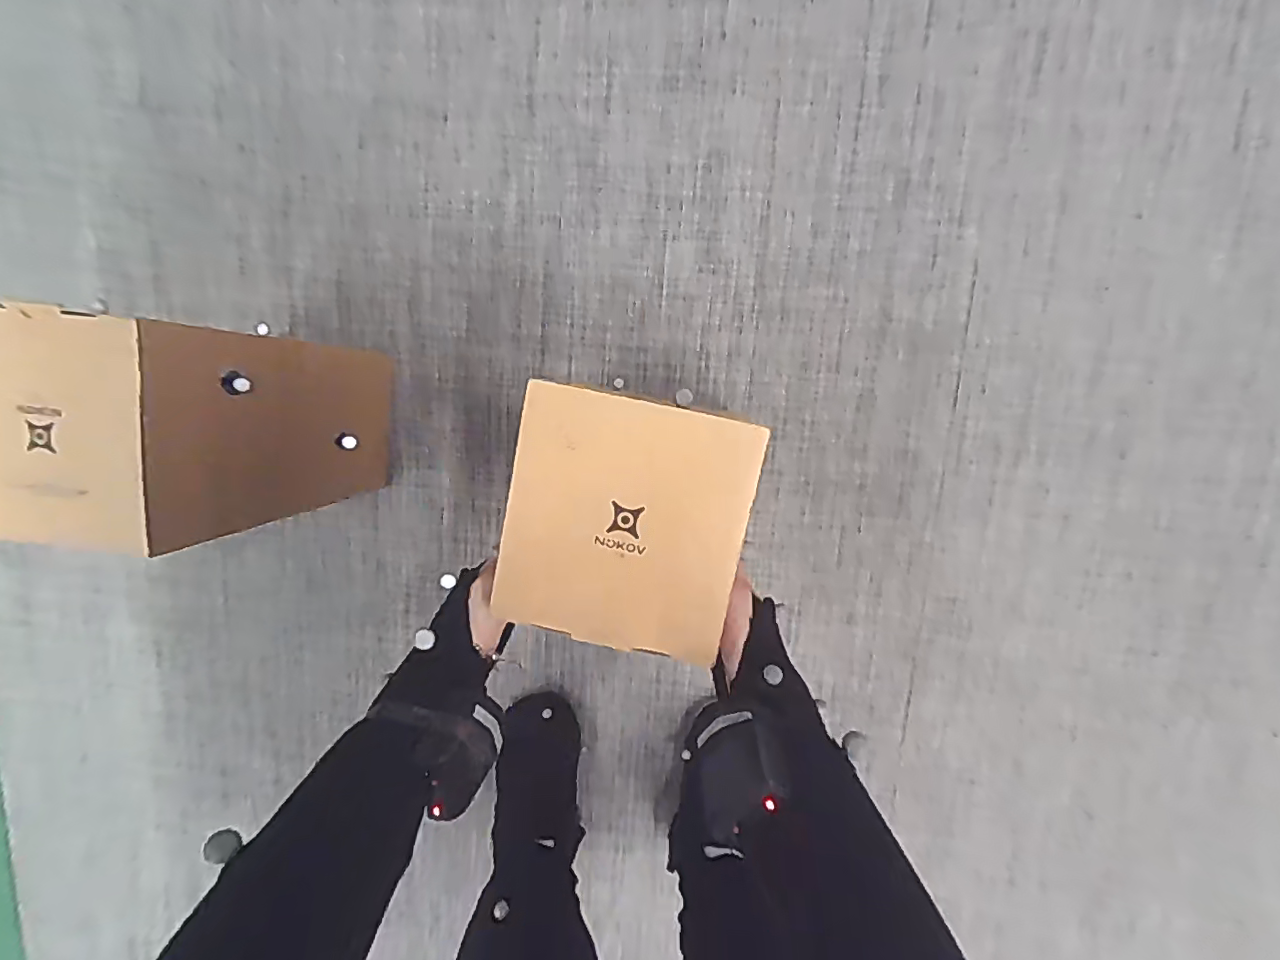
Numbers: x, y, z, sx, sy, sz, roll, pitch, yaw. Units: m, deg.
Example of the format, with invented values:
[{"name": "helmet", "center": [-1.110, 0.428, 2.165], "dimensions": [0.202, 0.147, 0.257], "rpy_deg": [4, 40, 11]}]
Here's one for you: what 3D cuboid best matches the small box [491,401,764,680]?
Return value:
[{"name": "small box", "center": [-0.010, 0.033, 0.457], "dimensions": [0.168, 0.176, 0.179], "rpy_deg": [12, 101, -1]}]
